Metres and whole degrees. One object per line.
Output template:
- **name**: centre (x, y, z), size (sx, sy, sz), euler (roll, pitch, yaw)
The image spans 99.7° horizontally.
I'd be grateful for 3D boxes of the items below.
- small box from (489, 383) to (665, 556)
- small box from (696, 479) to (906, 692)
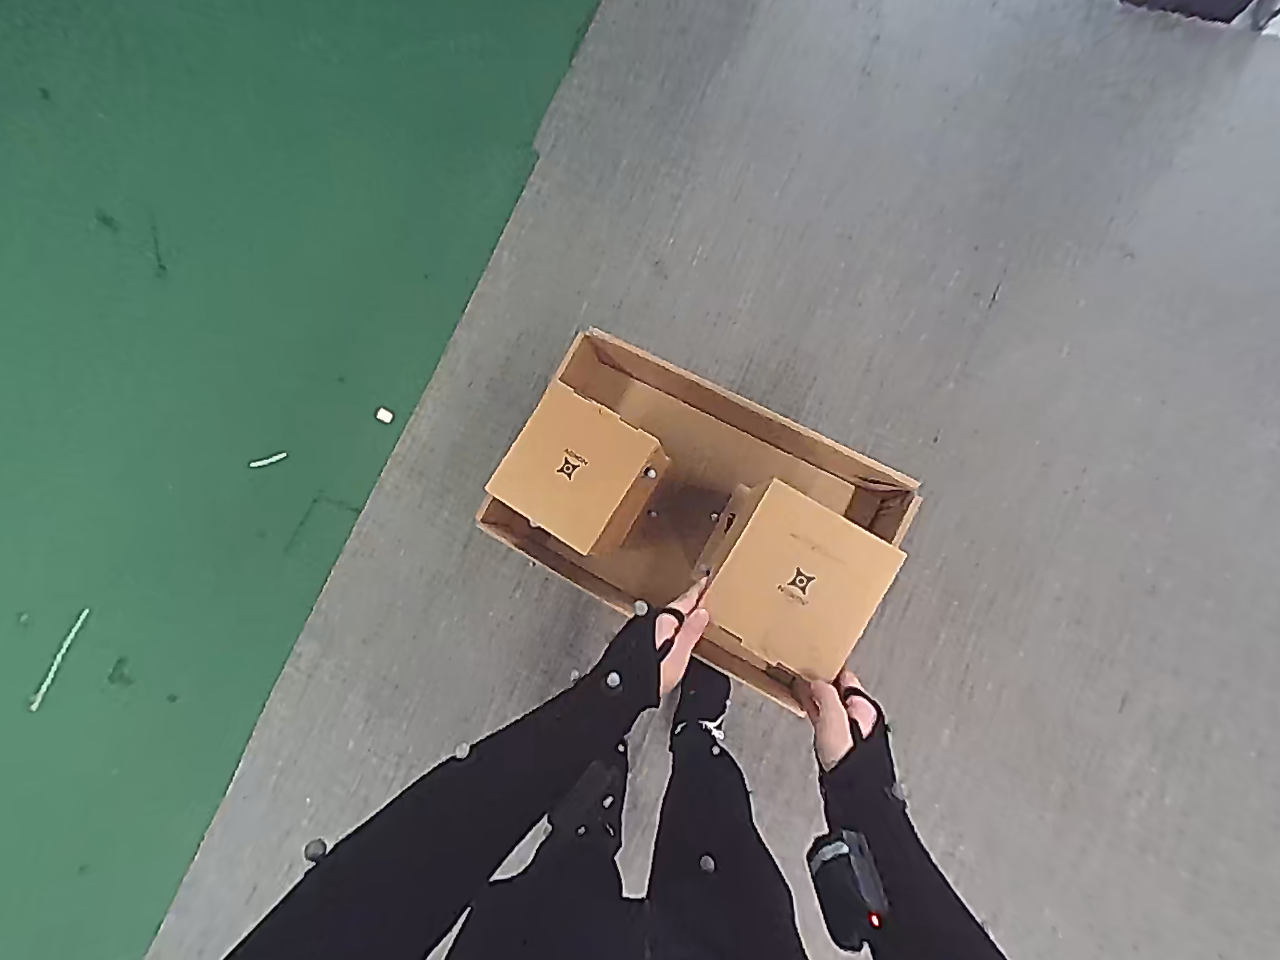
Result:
- **small box**: centre (-0.076, -0.004, 0.774), size (0.168, 0.176, 0.179), euler (31, 86, 11)
- **small box**: centre (0.182, 0.119, 0.666), size (0.168, 0.176, 0.179), euler (32, 88, 5)
